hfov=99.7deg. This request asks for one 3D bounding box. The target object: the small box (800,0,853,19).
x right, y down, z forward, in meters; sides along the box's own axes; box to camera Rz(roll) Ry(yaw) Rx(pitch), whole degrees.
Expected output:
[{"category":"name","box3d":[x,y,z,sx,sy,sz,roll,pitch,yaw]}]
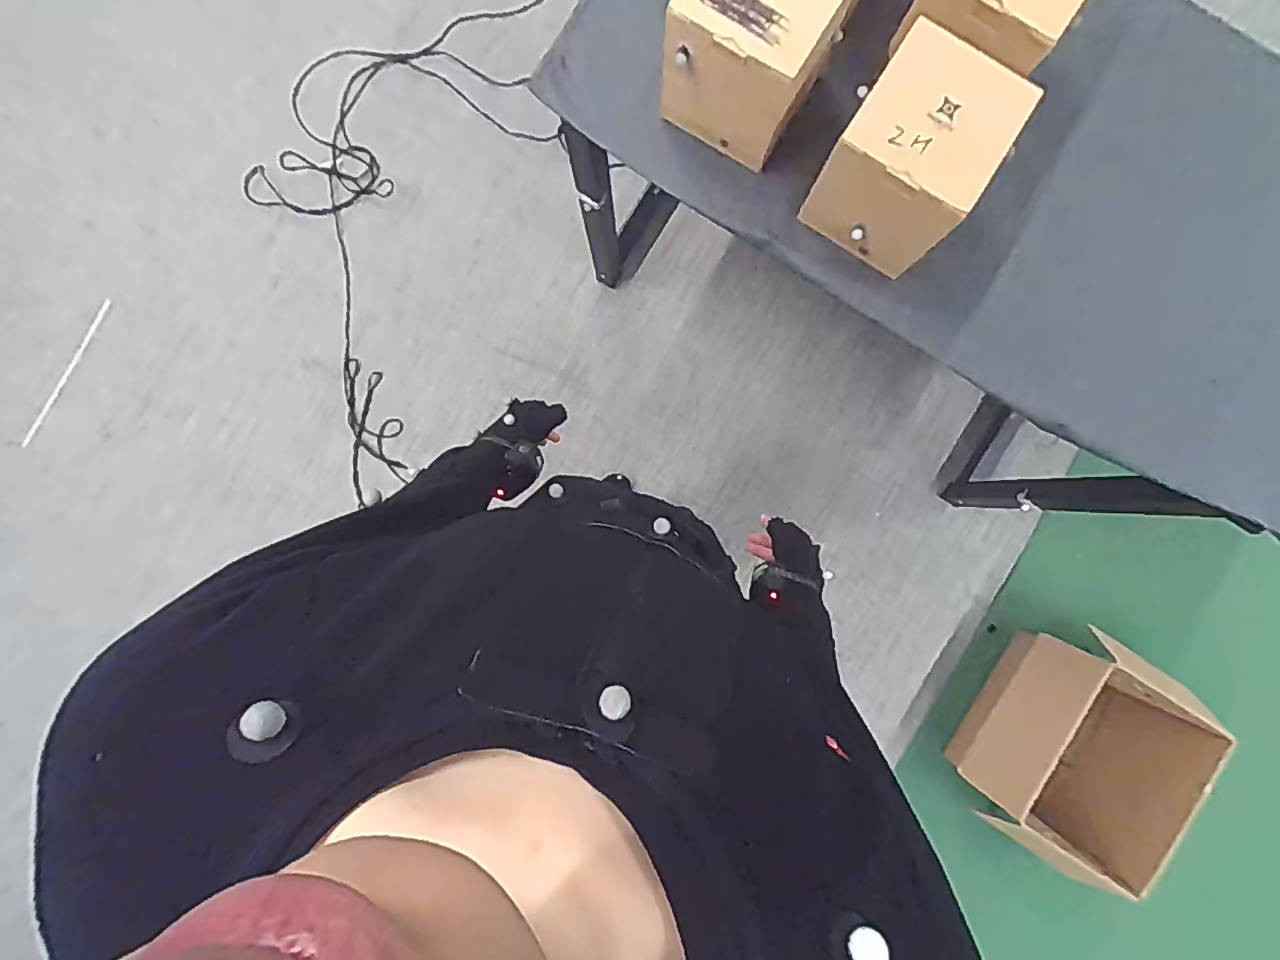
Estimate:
[{"category":"small box","box3d":[0.254,-0.757,0.687,0.168,0.176,0.179,31,89,0]}]

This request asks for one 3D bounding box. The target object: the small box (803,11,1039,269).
[{"category":"small box","box3d":[0.333,-0.407,0.680,0.168,0.176,0.179,33,88,1]}]

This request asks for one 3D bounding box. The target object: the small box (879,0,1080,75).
[{"category":"small box","box3d":[0.443,-0.609,0.688,0.168,0.176,0.179,34,90,0]}]
